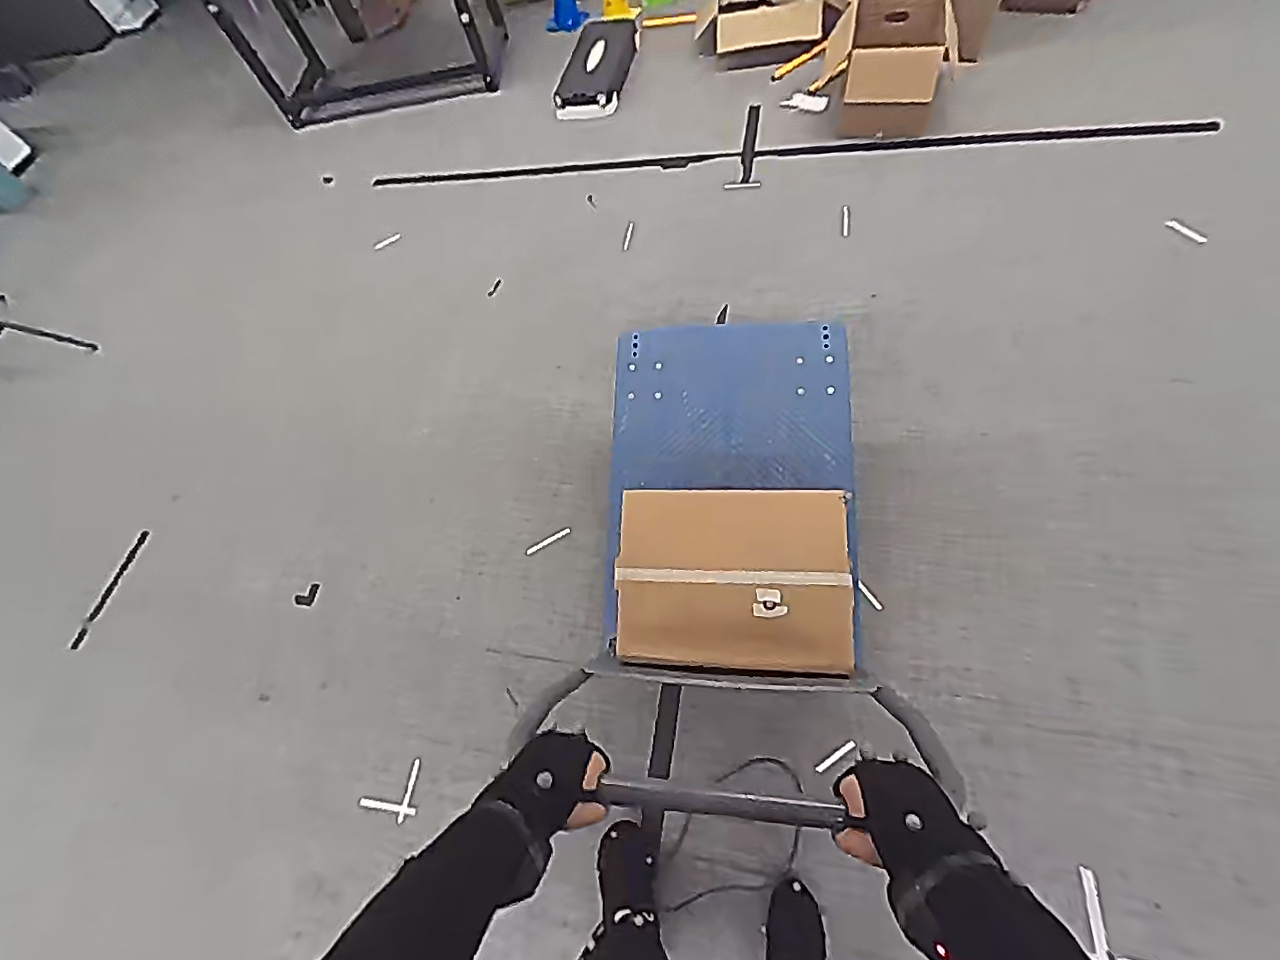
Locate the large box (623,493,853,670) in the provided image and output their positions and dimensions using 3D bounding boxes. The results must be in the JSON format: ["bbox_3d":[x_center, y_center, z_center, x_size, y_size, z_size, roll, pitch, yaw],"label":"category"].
[{"bbox_3d":[0.188,0.211,1.117,0.408,0.320,0.320,-1,78,9],"label":"large box"}]
